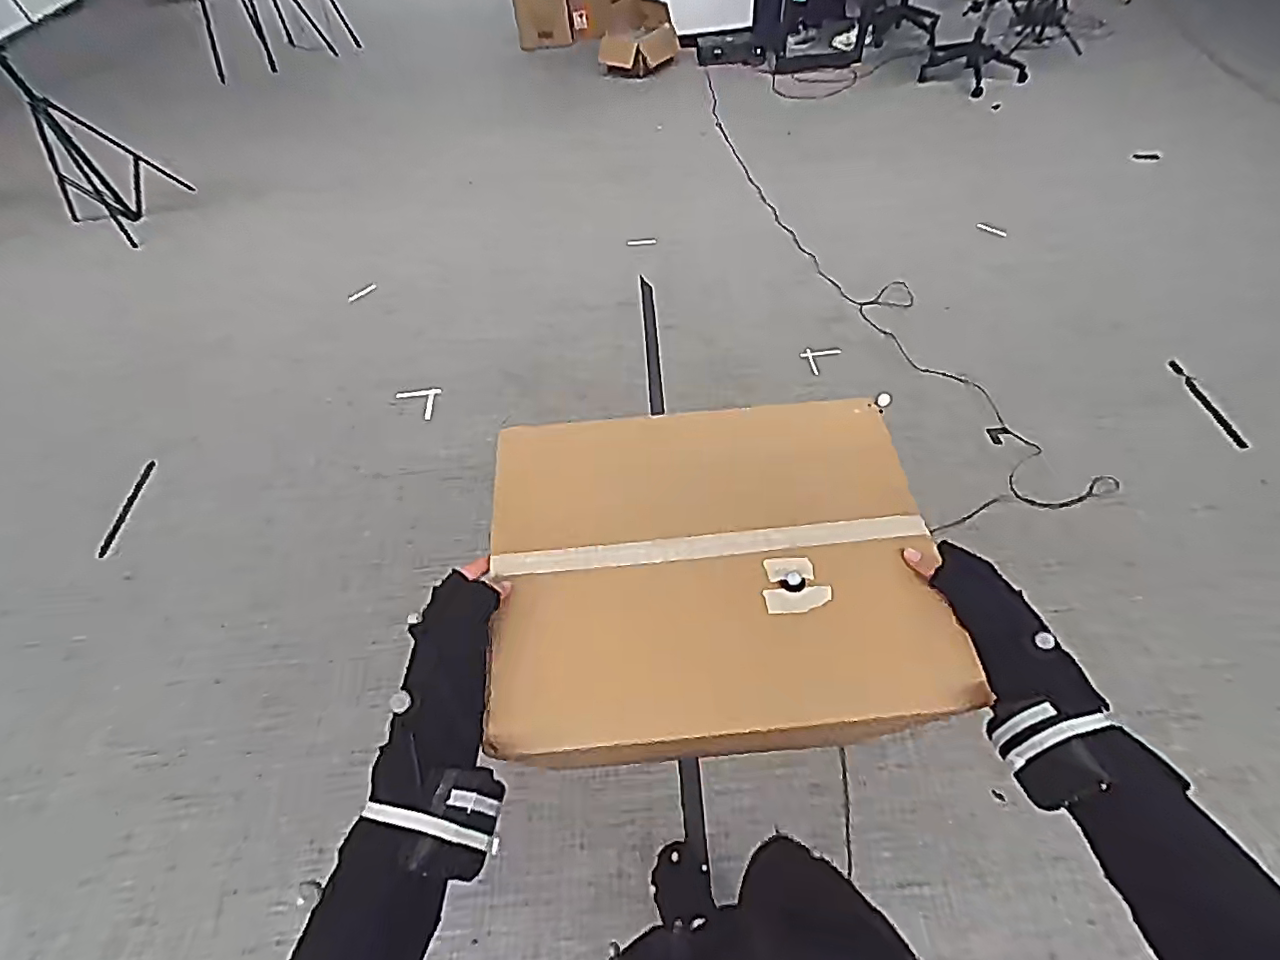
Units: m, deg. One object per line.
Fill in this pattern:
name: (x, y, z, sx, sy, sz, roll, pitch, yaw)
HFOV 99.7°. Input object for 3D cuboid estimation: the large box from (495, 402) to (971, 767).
large box: (0.067, 0.139, 0.643, 0.408, 0.320, 0.320, -5, 60, -1)
